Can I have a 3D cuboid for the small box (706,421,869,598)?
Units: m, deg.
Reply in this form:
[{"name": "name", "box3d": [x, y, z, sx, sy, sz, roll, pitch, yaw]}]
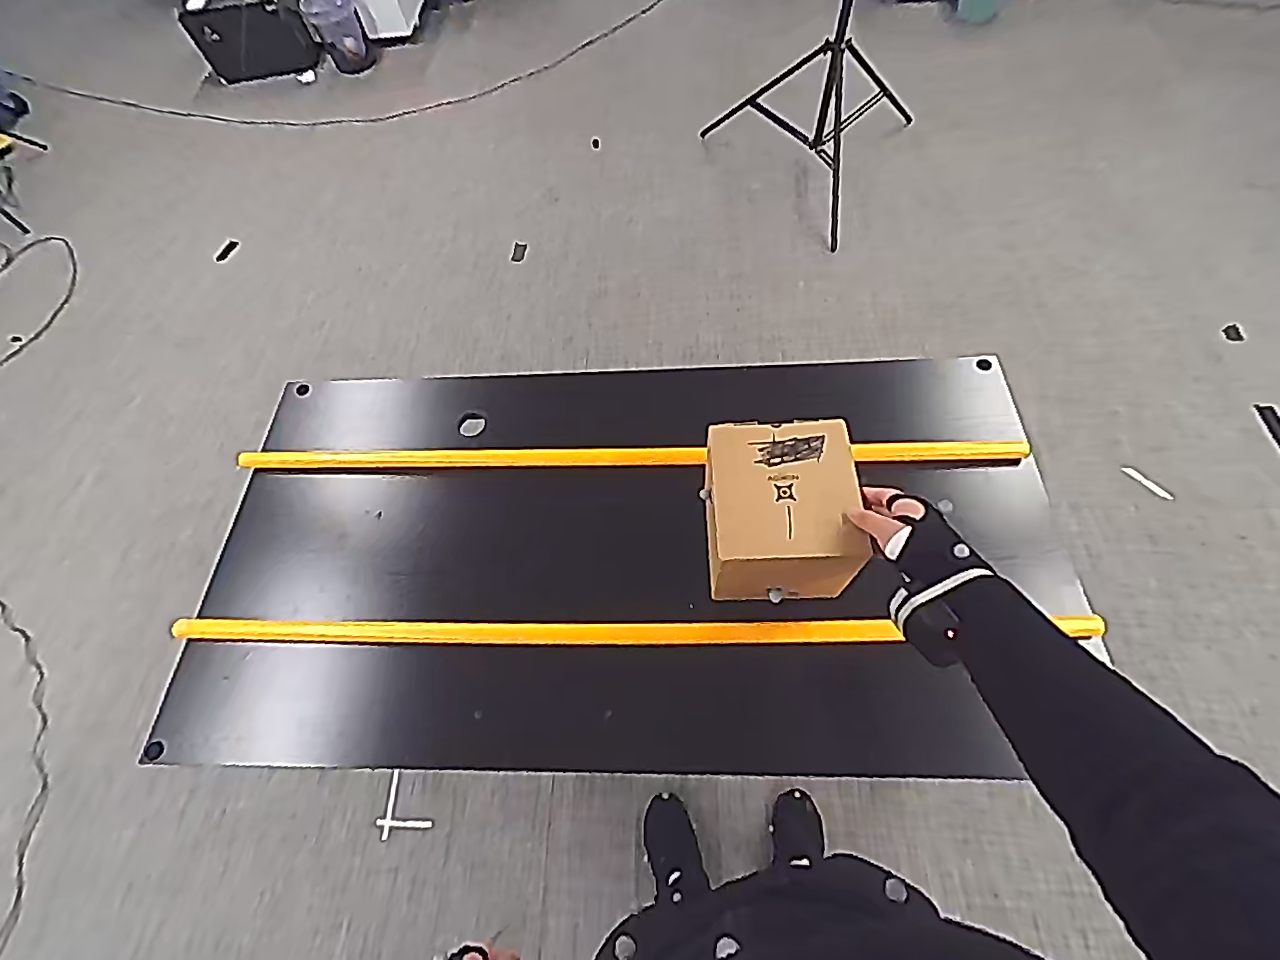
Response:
[{"name": "small box", "box3d": [0.173, 0.043, 0.697, 0.168, 0.176, 0.179, -2, 63, 4]}]
